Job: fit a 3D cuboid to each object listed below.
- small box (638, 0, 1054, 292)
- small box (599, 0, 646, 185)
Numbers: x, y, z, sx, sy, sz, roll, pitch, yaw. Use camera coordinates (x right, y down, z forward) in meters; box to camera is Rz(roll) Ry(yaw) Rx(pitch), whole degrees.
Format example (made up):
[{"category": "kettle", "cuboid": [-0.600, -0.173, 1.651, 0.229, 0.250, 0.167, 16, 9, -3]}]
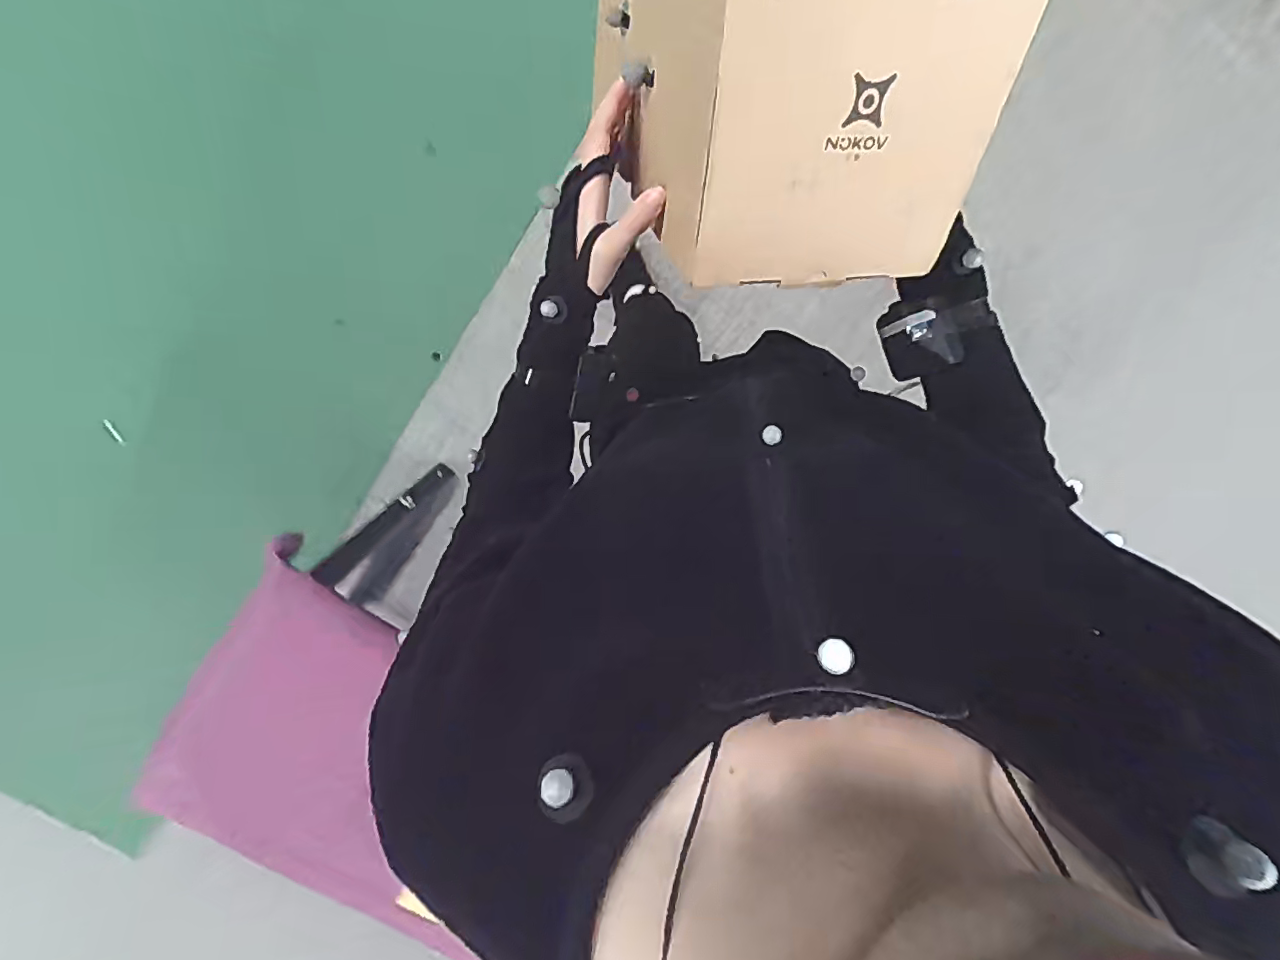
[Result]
[{"category": "small box", "cuboid": [0.096, -0.239, 0.337, 0.168, 0.176, 0.179, -6, 136, -11]}, {"category": "small box", "cuboid": [0.064, -0.356, 0.450, 0.168, 0.176, 0.179, -1, 134, -15]}]
